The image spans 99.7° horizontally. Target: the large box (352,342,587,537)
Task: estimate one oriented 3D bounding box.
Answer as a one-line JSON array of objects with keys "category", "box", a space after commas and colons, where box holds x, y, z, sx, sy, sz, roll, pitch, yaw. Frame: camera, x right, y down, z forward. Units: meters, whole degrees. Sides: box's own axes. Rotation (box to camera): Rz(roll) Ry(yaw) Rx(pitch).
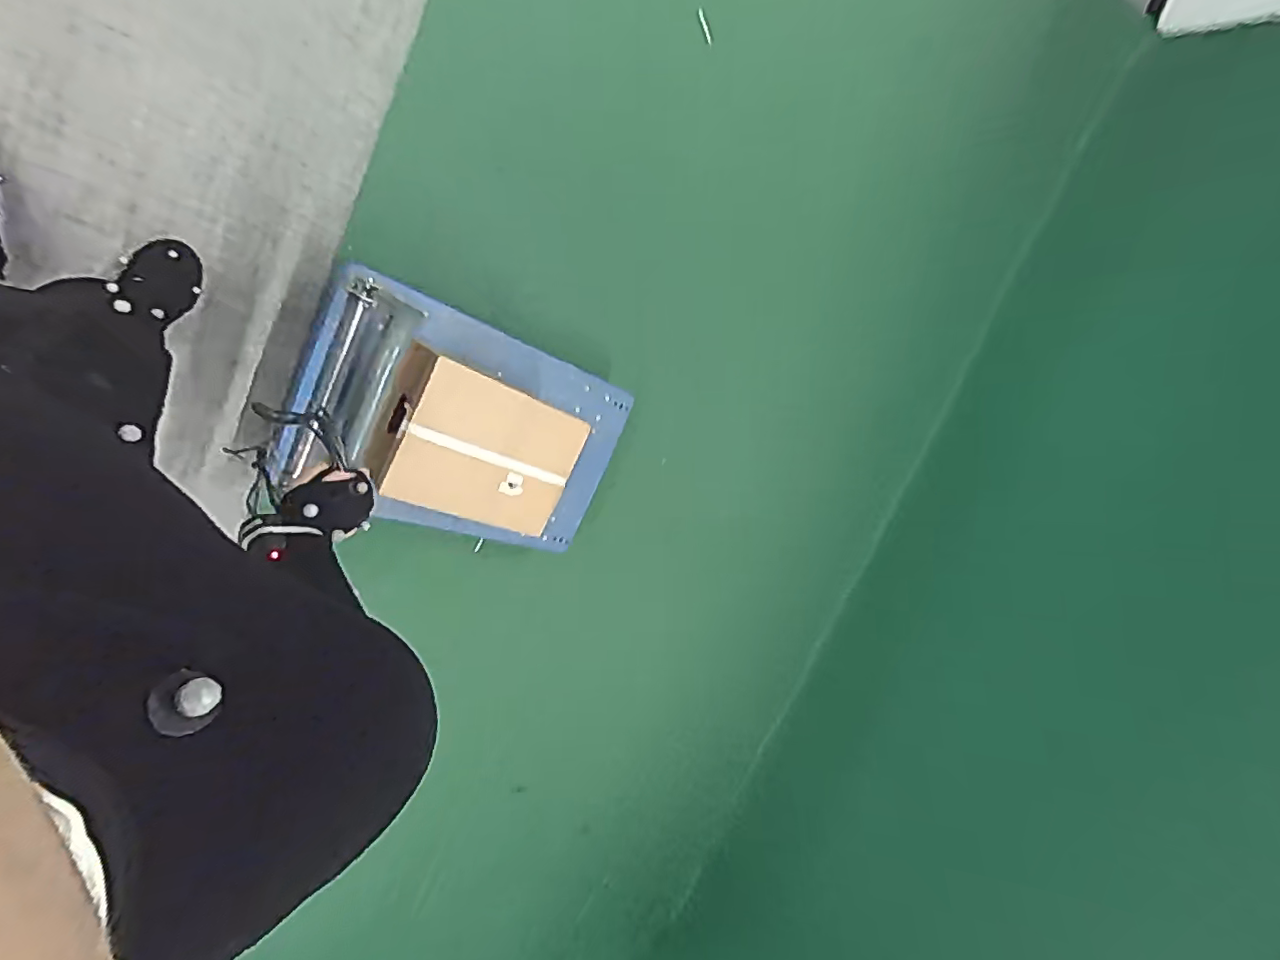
[{"category": "large box", "box": [-0.418, -0.097, 1.320, 0.408, 0.320, 0.320, 23, 96, -42]}]
